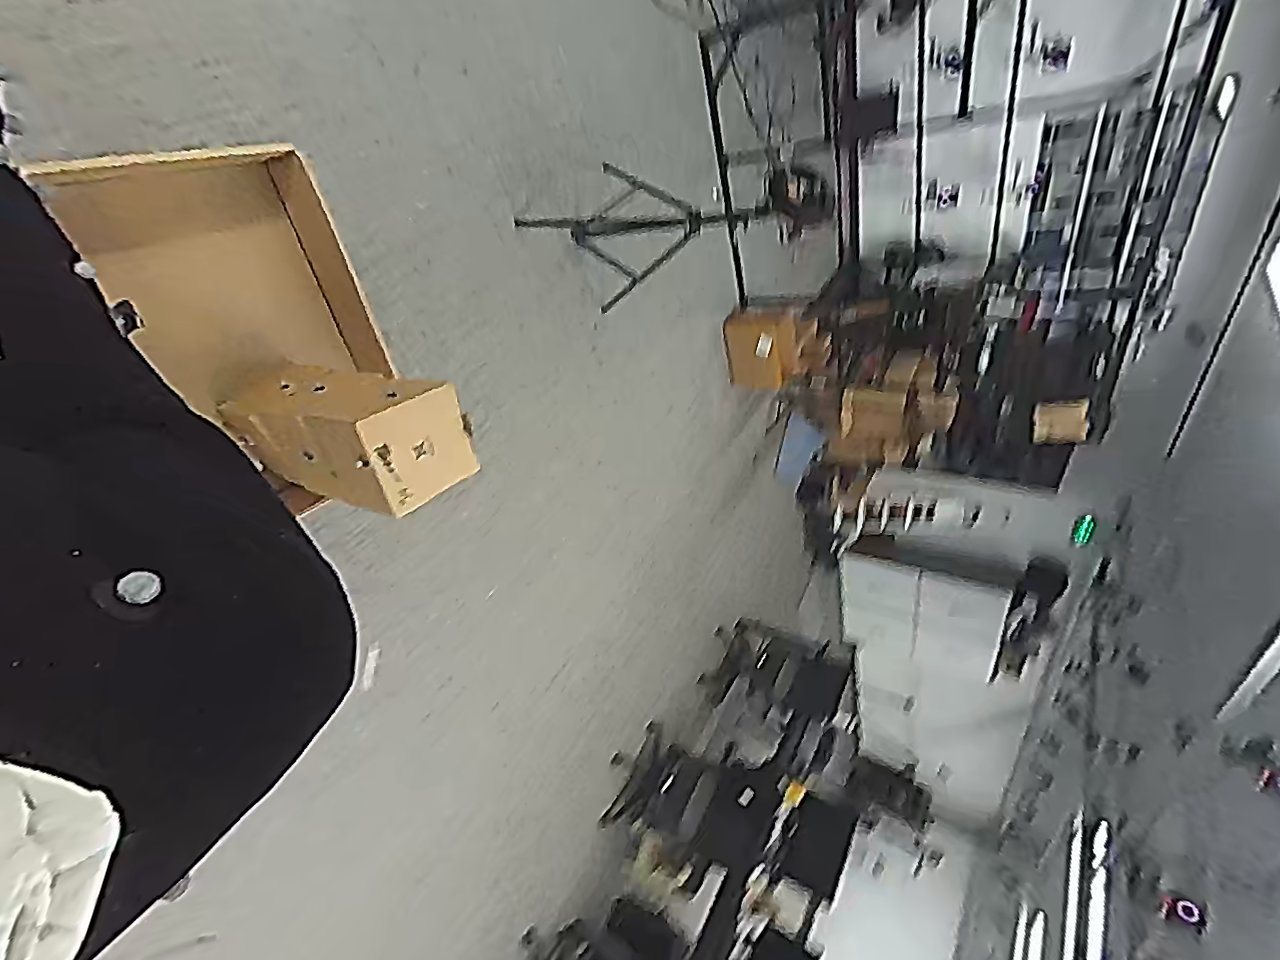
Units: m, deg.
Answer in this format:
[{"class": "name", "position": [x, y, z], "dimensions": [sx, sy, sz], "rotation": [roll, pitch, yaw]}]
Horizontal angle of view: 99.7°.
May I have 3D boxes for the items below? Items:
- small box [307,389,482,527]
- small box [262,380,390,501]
[{"class": "small box", "position": [-0.402, -0.047, 0.896], "dimensions": [0.179, 0.176, 0.168], "rotation": [-40, 128, -44]}, {"class": "small box", "position": [-0.538, -0.072, 0.984], "dimensions": [0.168, 0.176, 0.179], "rotation": [-45, 133, -40]}]
